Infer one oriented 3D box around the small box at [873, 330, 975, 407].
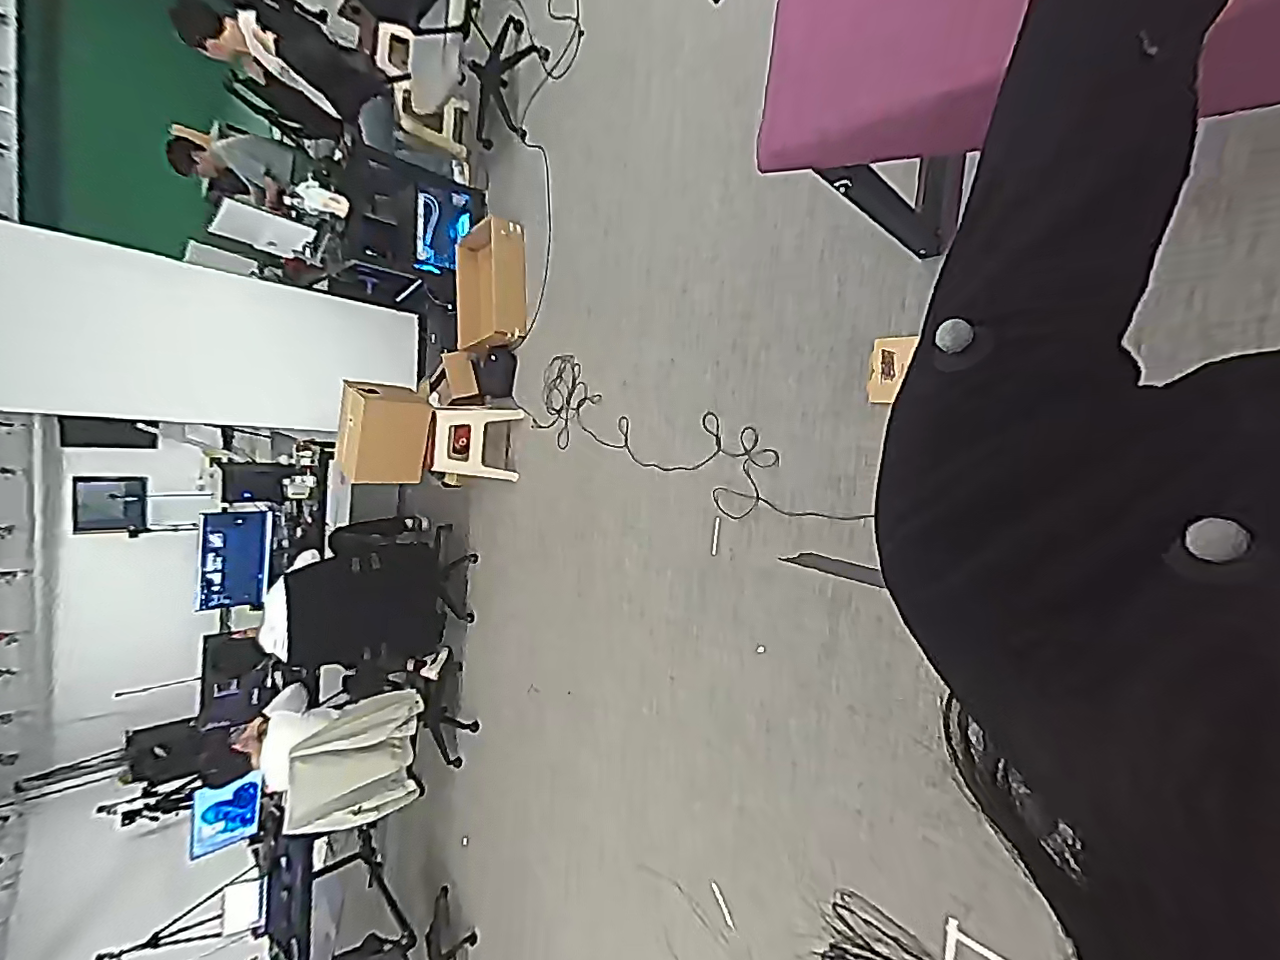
[{"bbox_3d":[0.719,-0.275,1.369,0.179,0.176,0.168,8,96,45],"label":"small box"}]
